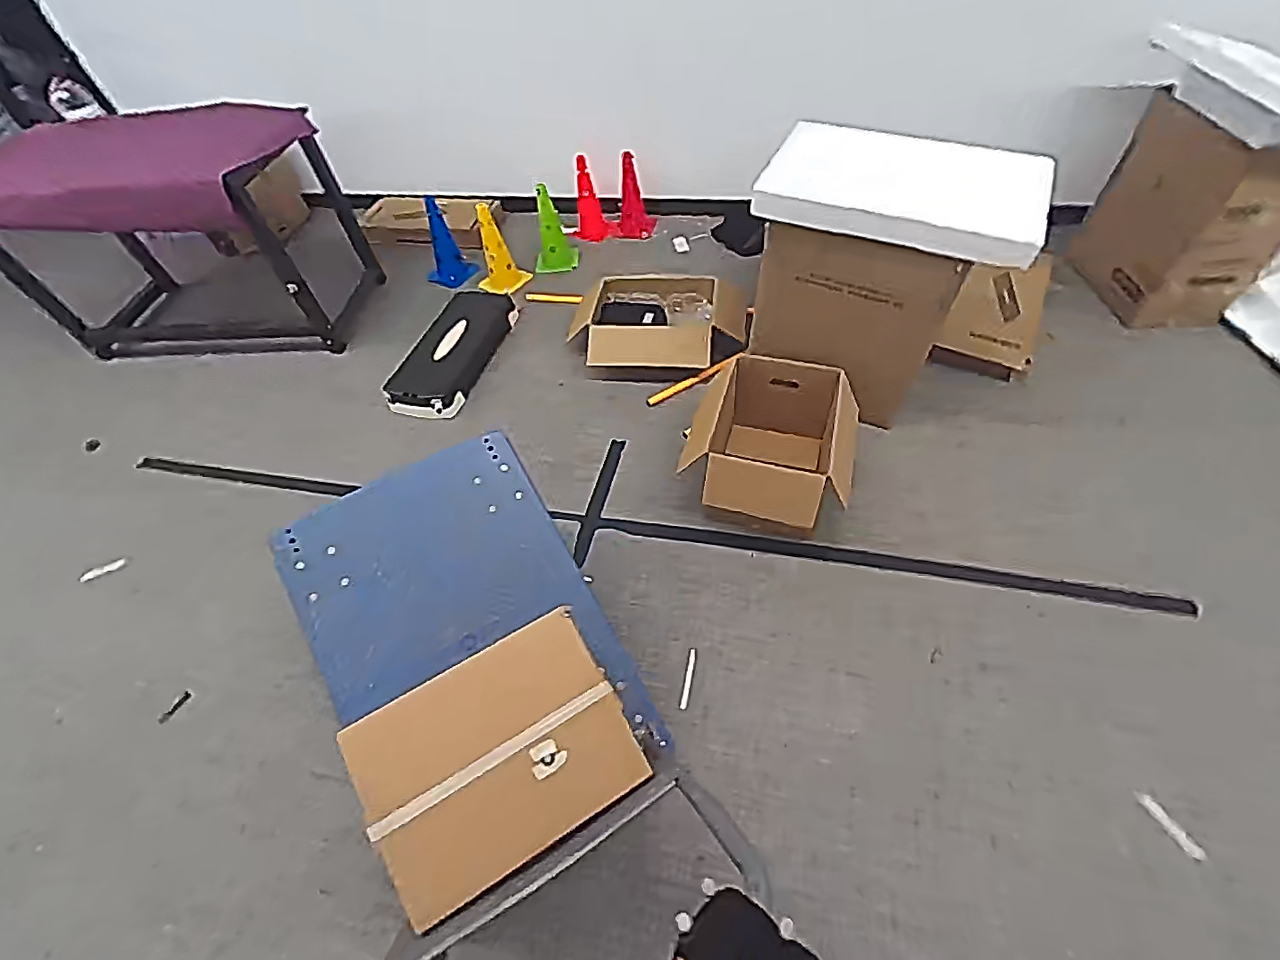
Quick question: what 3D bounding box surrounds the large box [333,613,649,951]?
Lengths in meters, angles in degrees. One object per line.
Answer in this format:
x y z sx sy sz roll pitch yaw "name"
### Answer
-0.247 0.497 0.981 0.408 0.320 0.320 -28 77 -17 "large box"
